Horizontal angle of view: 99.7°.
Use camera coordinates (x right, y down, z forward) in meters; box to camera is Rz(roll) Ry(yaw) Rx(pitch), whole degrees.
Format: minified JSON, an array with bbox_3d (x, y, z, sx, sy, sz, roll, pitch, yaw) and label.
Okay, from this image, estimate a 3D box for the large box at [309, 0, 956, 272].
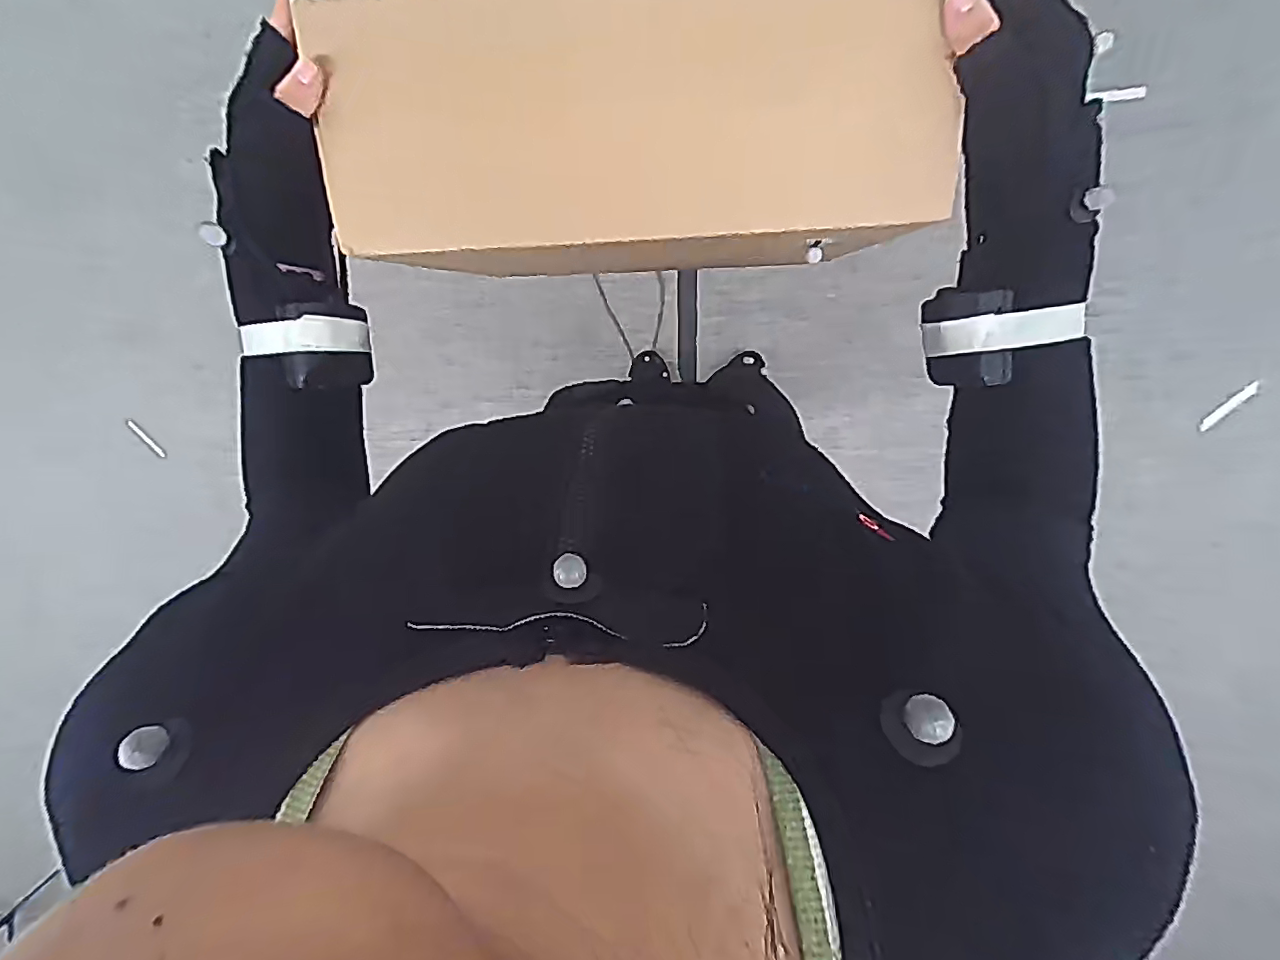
[{"bbox_3d":[0.001,-0.359,0.464,0.408,0.320,0.320,-1,107,6],"label":"large box"}]
